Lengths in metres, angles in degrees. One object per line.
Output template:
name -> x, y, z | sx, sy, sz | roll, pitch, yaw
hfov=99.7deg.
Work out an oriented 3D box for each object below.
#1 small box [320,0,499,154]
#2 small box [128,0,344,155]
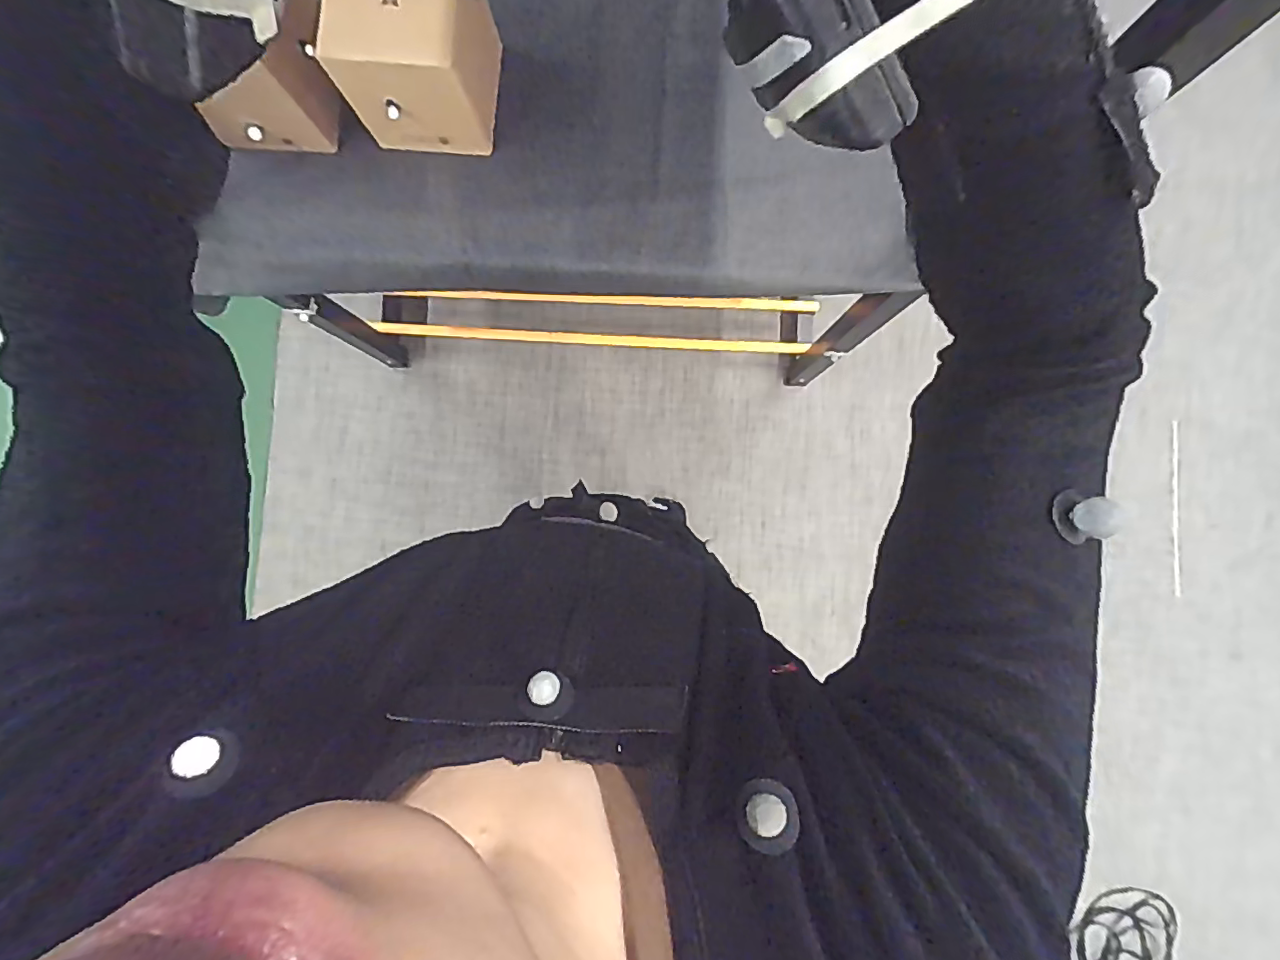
small box -> -0.296, -0.577, 0.732 | 0.168, 0.176, 0.179 | 4, 86, 0
small box -> -0.524, -0.581, 0.730 | 0.168, 0.176, 0.179 | 3, 87, 0
